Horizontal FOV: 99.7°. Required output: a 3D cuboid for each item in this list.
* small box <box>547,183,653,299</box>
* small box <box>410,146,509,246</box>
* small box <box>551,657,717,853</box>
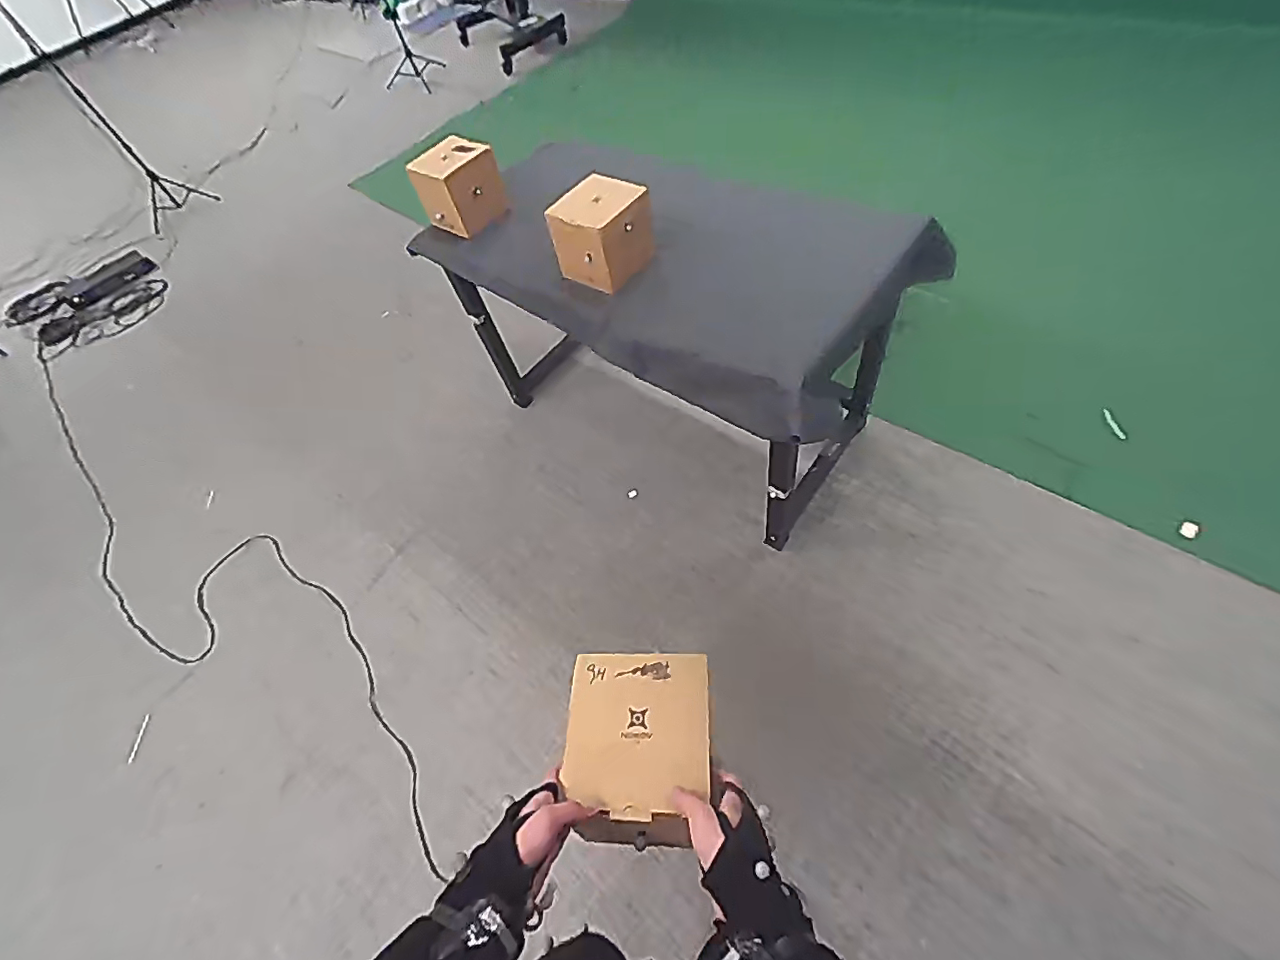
[{"bbox_3d":[-0.084,-0.554,1.261,0.168,0.176,0.179,30,64,26],"label":"small box"},{"bbox_3d":[-0.488,-0.786,1.497,0.168,0.176,0.179,30,66,27],"label":"small box"},{"bbox_3d":[0.006,0.332,0.650,0.168,0.176,0.179,-2,47,8],"label":"small box"}]
